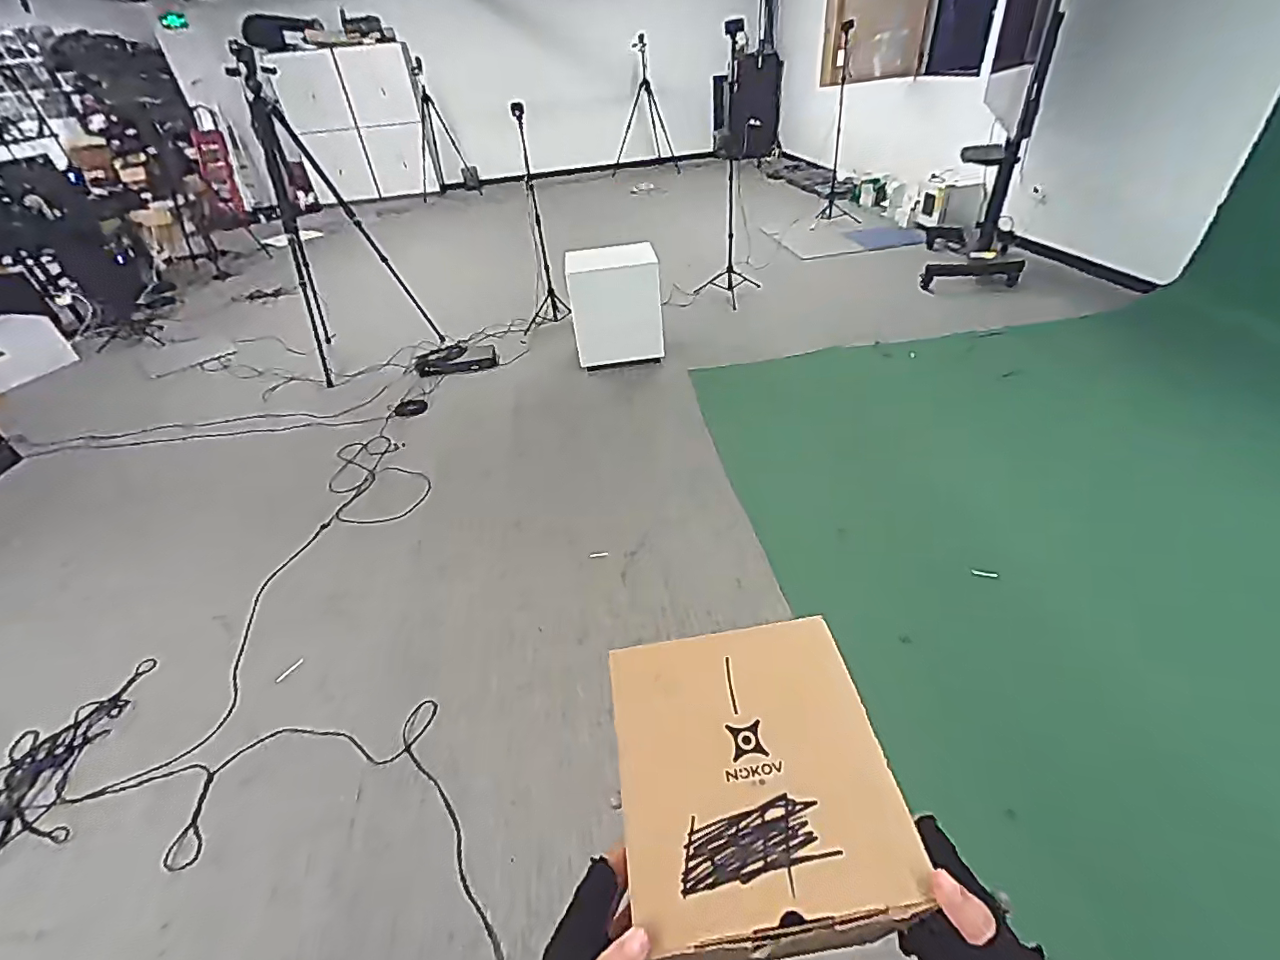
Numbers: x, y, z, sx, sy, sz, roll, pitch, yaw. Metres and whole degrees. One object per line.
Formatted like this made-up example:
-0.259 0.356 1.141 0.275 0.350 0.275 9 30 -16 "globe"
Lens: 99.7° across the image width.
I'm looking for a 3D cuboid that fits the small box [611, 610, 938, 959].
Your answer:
0.075 0.225 0.395 0.168 0.176 0.179 -8 44 -2 "small box"
